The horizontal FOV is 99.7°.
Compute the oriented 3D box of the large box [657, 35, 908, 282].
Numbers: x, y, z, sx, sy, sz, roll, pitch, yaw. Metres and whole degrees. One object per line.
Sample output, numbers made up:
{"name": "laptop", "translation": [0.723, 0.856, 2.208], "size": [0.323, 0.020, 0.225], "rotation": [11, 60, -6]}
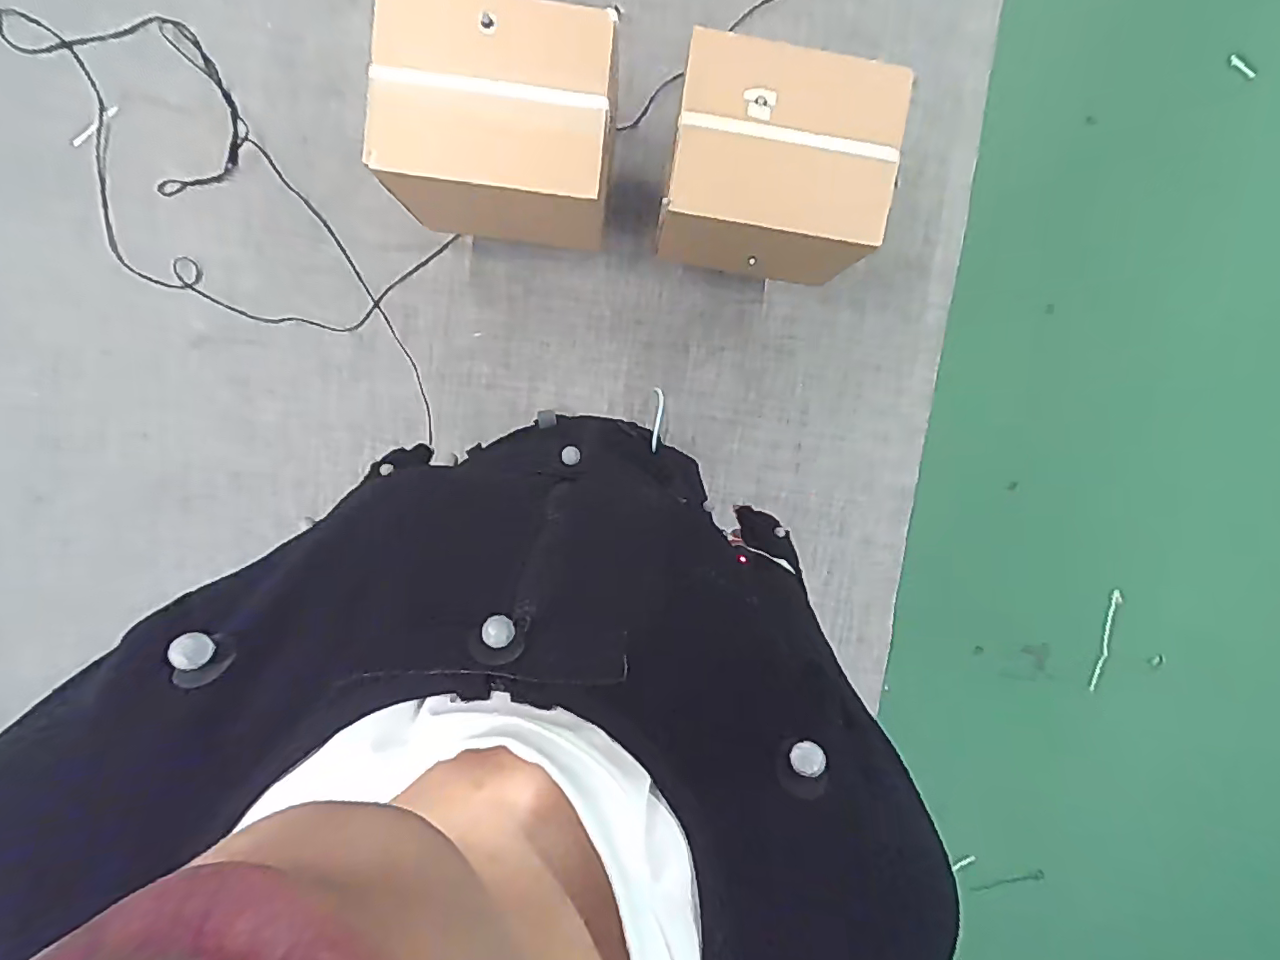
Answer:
{"name": "large box", "translation": [0.264, -0.629, 1.130], "size": [0.408, 0.320, 0.320], "rotation": [9, 96, -3]}
